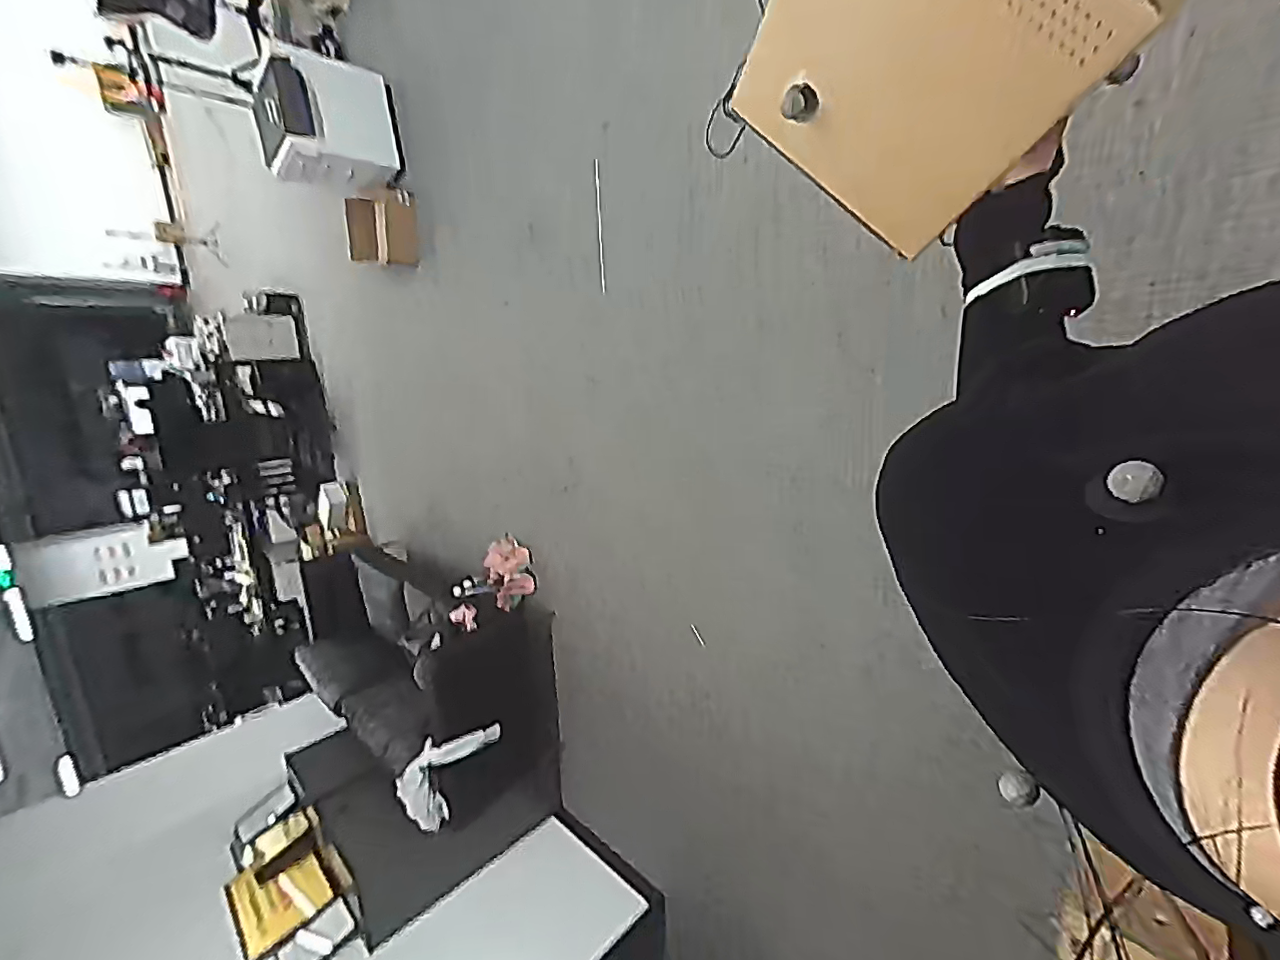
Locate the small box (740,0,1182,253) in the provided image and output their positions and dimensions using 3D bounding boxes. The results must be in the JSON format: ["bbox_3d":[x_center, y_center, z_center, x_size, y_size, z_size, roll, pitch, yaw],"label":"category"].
[{"bbox_3d":[0.200,-0.295,0.339,0.179,0.168,0.176,40,162,3],"label":"small box"}]
